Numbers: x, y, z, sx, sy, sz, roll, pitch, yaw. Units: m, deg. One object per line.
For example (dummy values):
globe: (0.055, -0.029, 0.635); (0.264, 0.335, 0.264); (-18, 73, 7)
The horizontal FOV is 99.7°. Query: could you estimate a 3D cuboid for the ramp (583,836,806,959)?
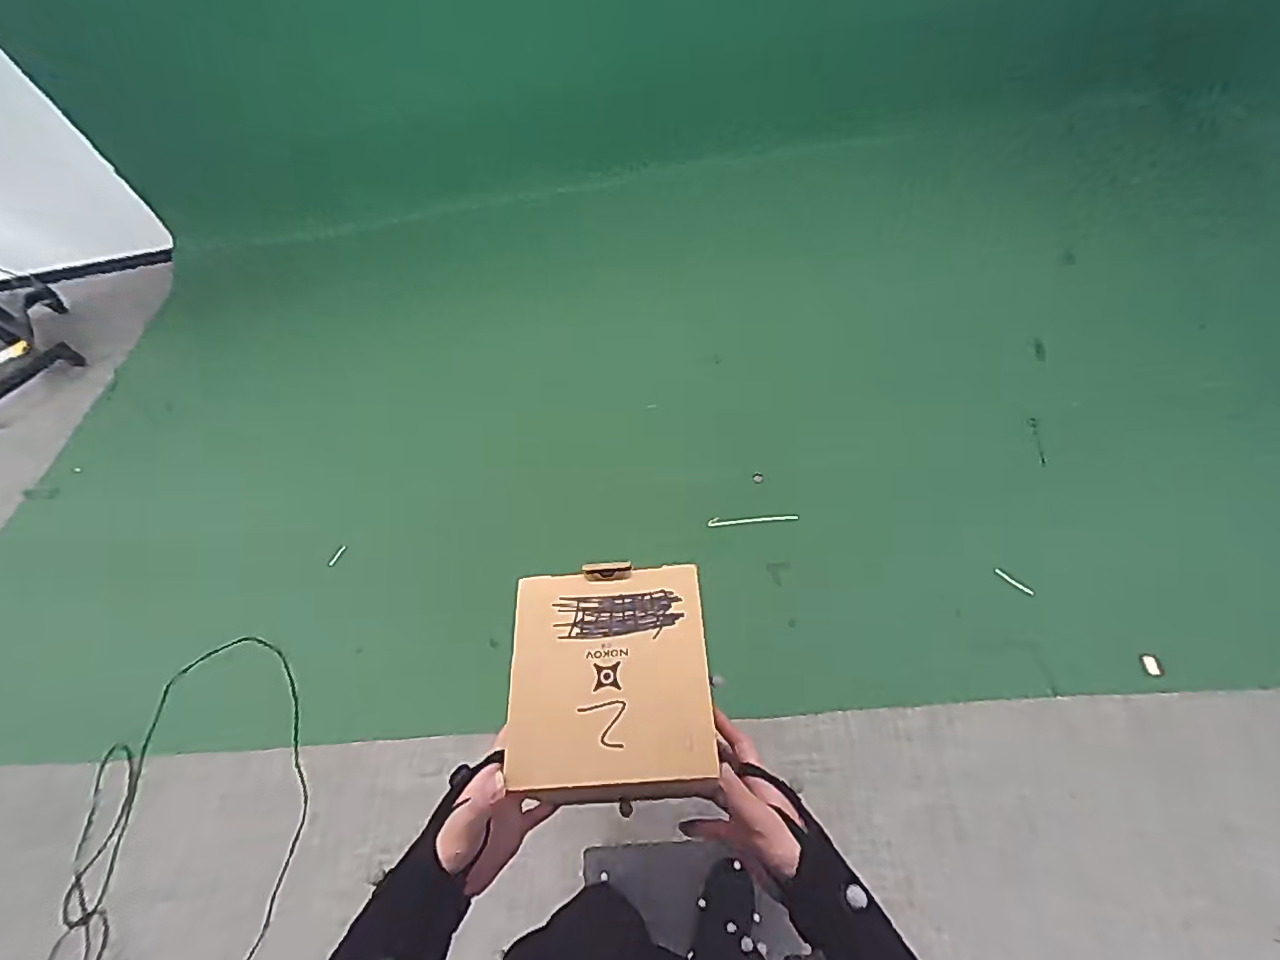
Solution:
ramp: (0.144, 1.319, 1.096); (0.509, 0.206, 0.991); (-8, 56, 4)
